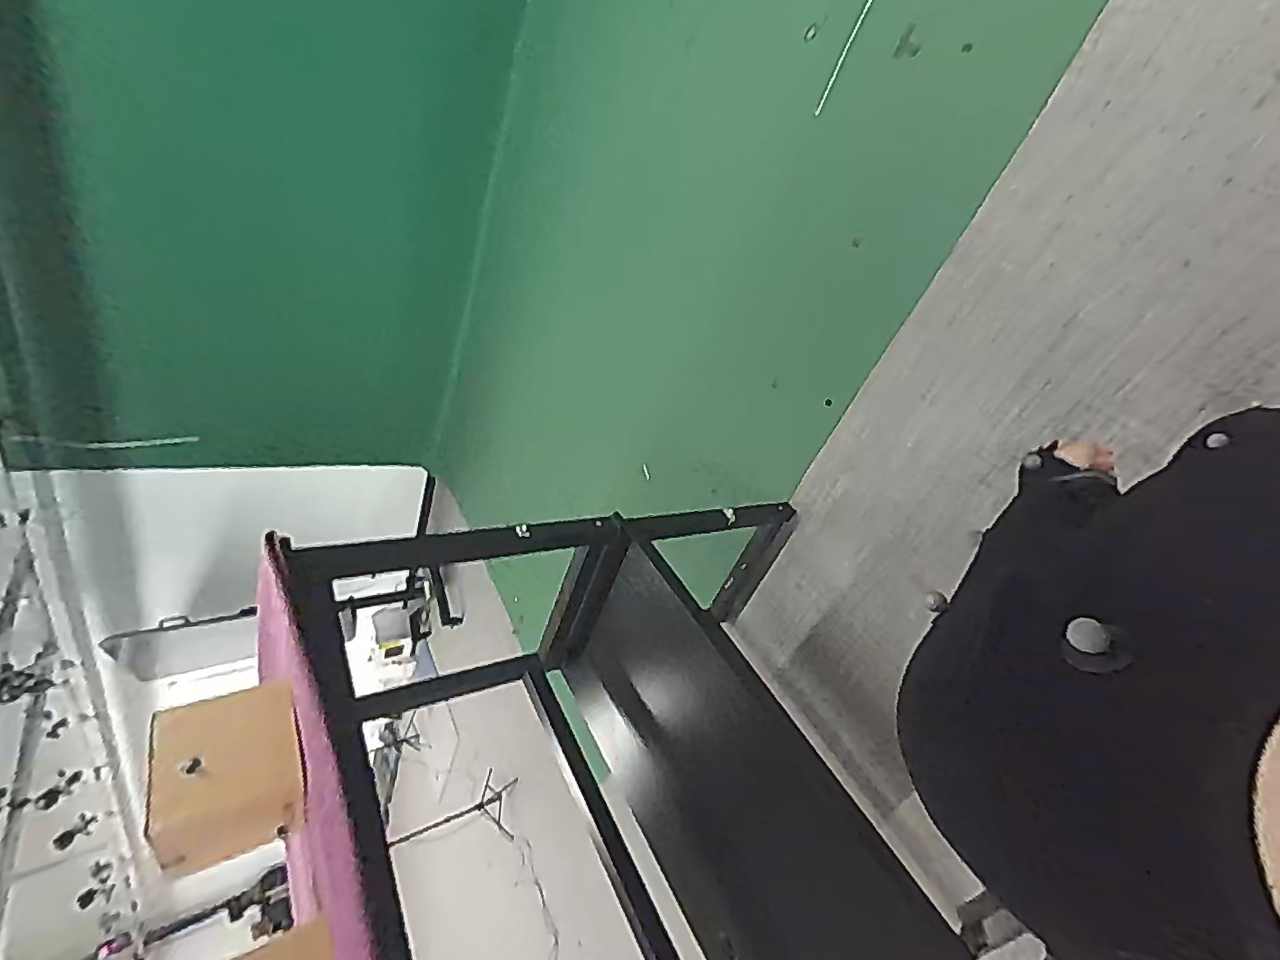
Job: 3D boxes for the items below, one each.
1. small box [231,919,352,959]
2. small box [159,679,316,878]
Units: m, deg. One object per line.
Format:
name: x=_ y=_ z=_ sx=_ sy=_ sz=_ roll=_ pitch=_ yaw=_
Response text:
small box: x=-0.401 y=0.625 z=0.584 sx=0.179 sy=0.176 sz=0.168 roll=48 pitch=129 yaw=38
small box: x=-0.590 y=0.432 z=0.805 sx=0.179 sy=0.176 sz=0.168 roll=51 pitch=132 yaw=37
